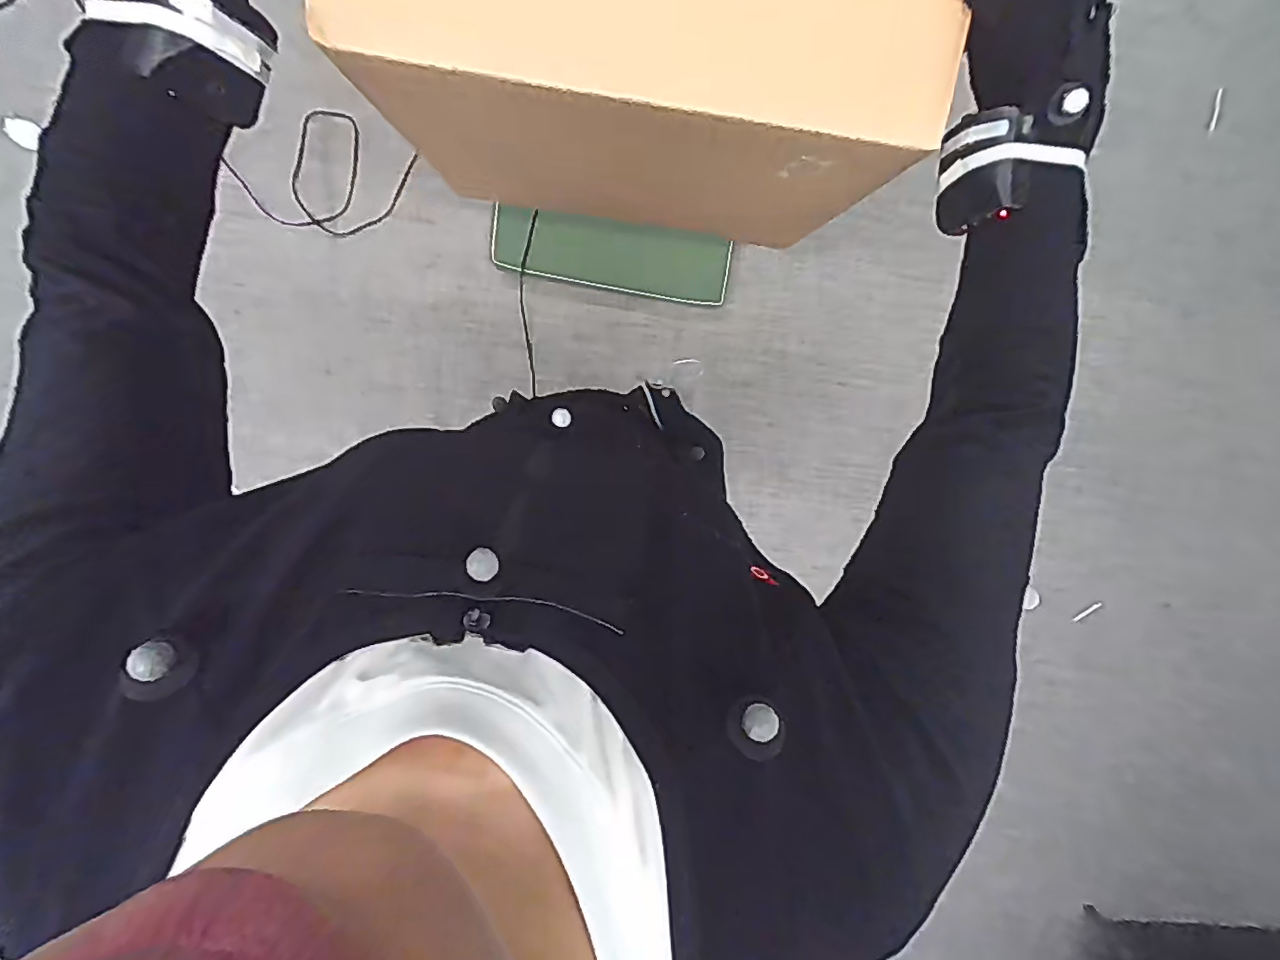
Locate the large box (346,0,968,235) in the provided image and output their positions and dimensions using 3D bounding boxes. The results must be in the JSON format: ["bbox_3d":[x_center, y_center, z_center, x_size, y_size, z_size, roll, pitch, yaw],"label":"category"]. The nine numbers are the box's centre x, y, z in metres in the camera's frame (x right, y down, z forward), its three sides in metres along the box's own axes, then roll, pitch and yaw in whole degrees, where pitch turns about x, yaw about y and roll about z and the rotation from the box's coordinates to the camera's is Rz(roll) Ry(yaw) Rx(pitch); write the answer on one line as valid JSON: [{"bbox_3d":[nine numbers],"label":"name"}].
[{"bbox_3d":[0.017,-0.434,0.470,0.408,0.320,0.320,6,102,-6],"label":"large box"}]
